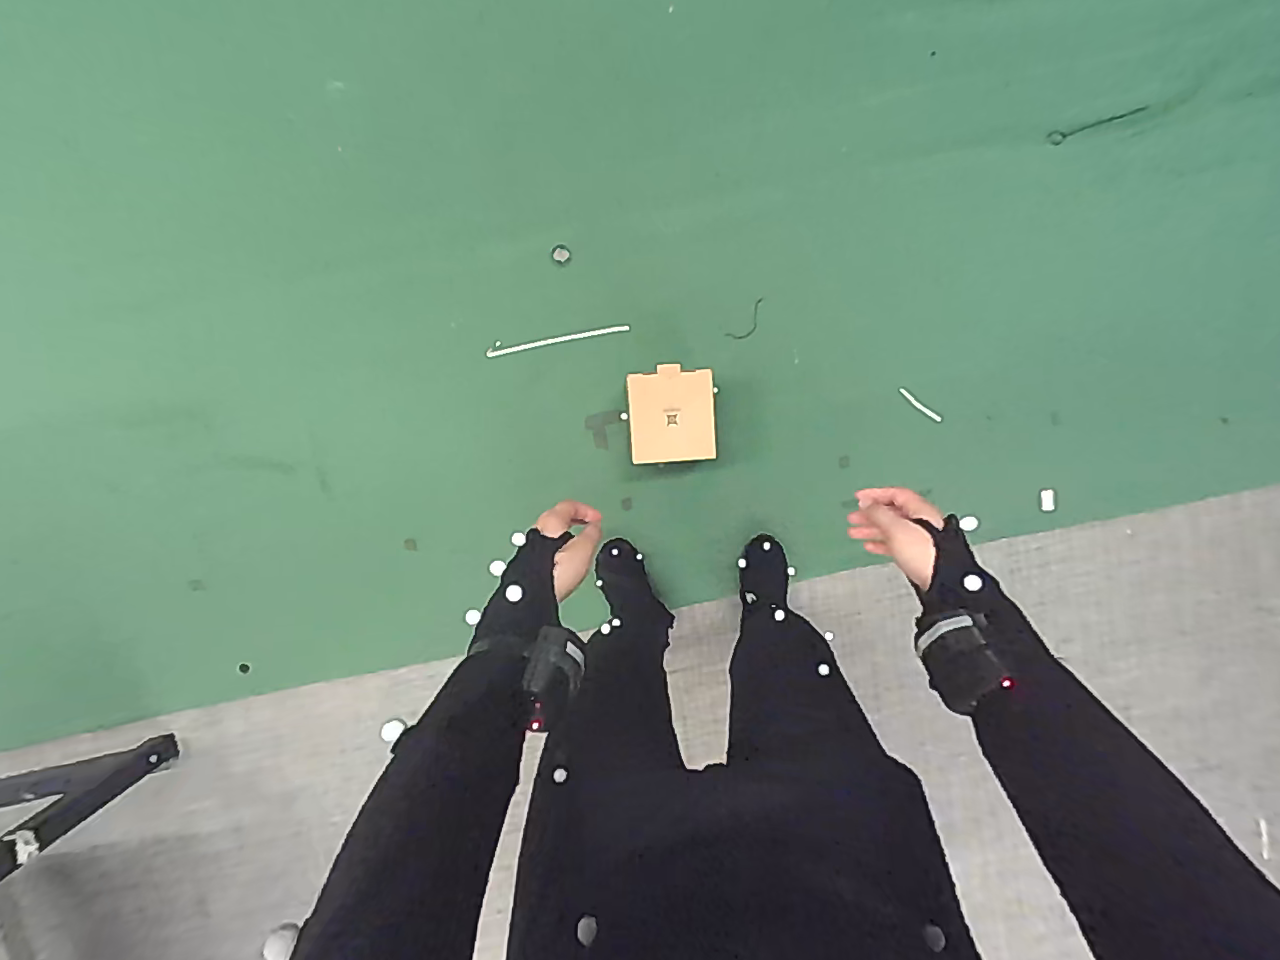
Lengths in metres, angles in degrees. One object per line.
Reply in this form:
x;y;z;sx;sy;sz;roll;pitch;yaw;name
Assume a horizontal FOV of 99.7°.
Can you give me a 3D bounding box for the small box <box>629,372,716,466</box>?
0.063;-0.126;1.127;0.168;0.176;0.179;-4;95;-2;small box
